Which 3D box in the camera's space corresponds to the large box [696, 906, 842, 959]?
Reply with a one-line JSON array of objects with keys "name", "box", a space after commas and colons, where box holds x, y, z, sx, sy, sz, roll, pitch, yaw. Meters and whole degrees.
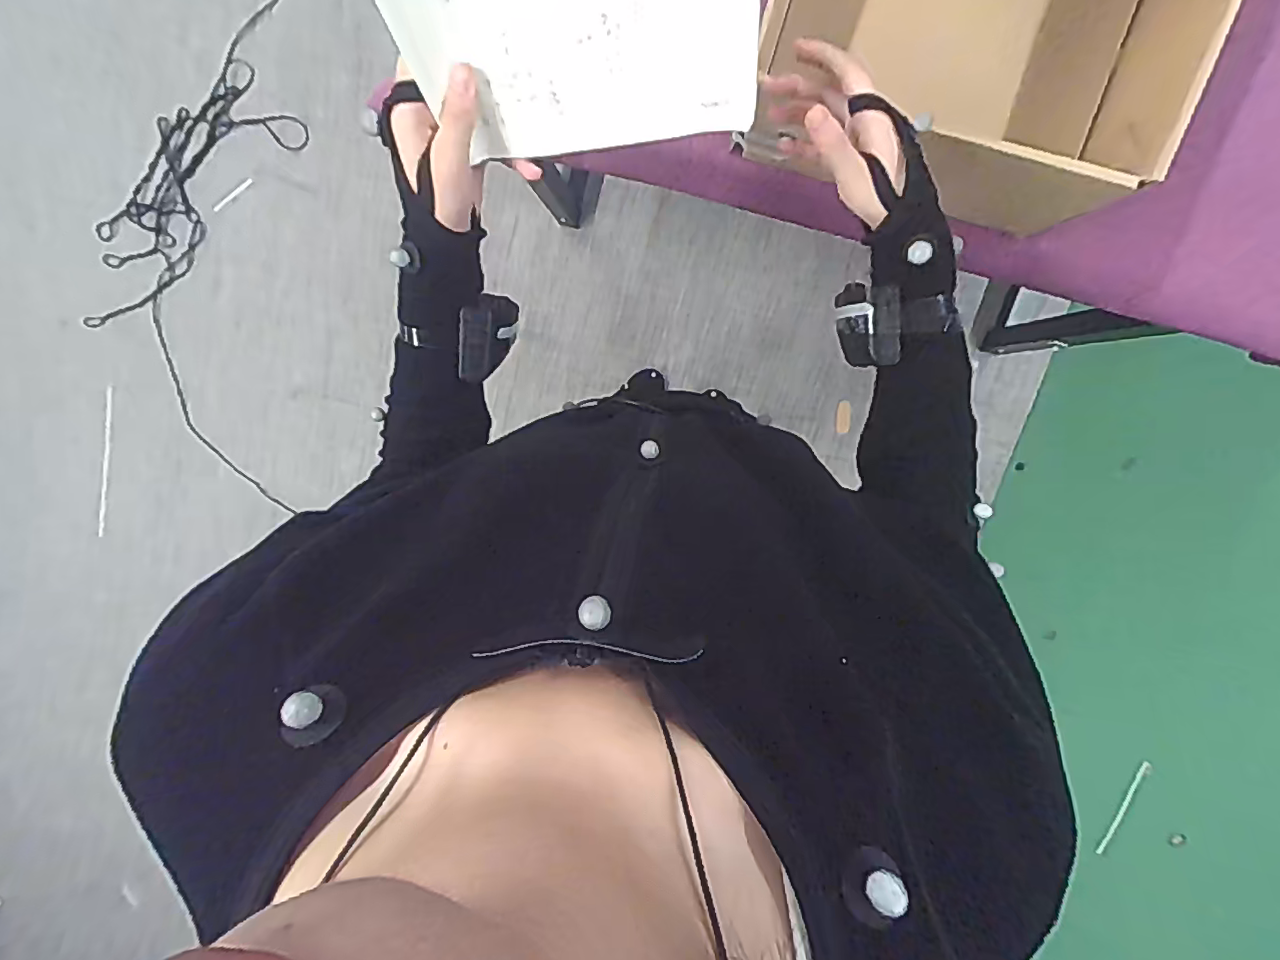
[{"name": "large box", "box": [0.368, 1.497, 1.545, 0.408, 0.320, 0.320, 2, 100, 3]}]
